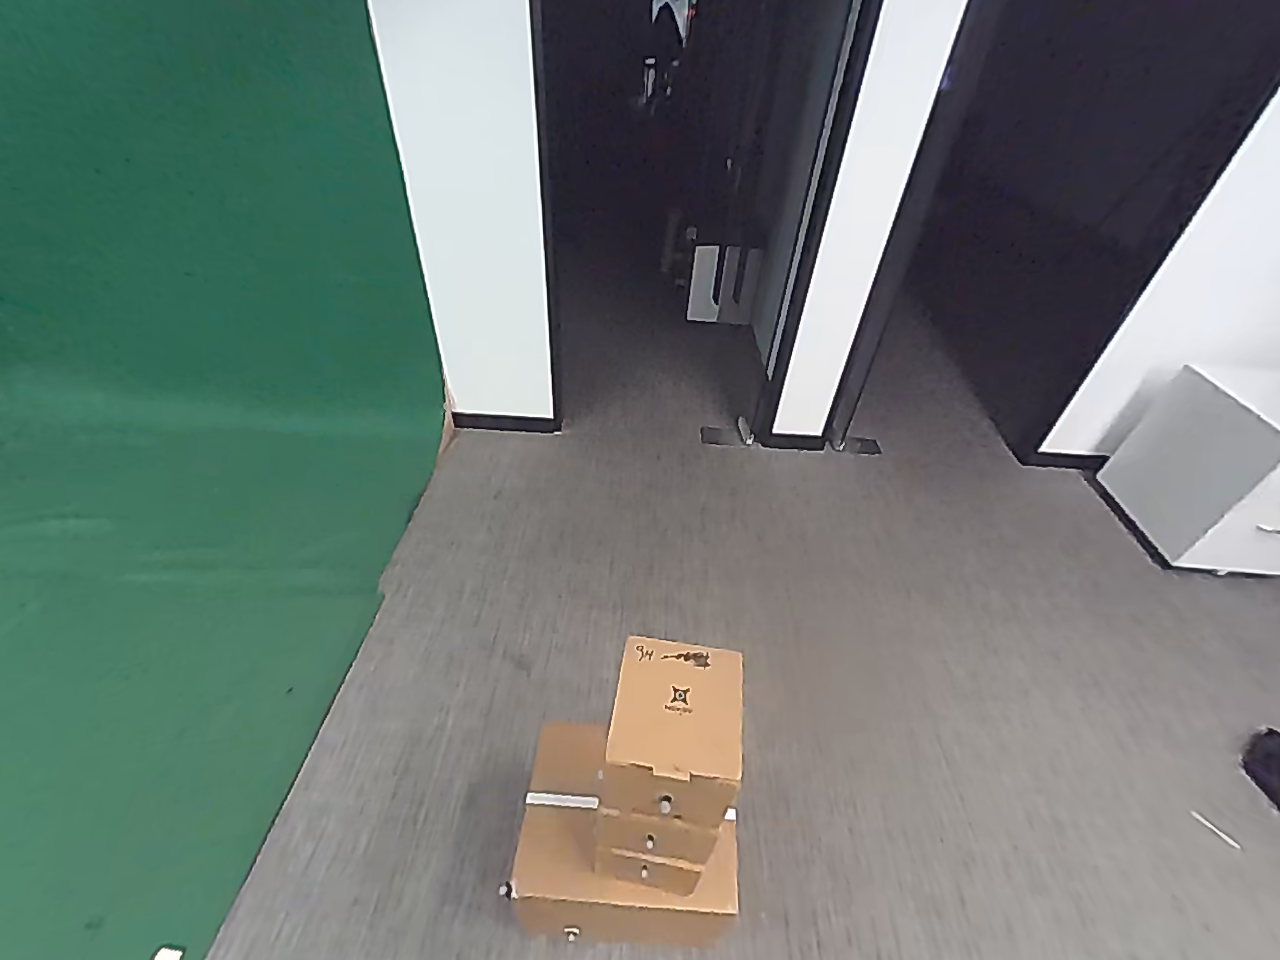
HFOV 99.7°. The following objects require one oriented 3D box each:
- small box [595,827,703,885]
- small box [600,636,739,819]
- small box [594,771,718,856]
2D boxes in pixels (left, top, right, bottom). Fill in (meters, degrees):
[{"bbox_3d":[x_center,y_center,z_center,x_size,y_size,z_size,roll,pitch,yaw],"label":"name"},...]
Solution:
[{"bbox_3d":[0.020,0.599,0.969,0.179,0.176,0.168,9,43,4],"label":"small box"},{"bbox_3d":[0.043,0.349,0.759,0.168,0.176,0.179,8,43,5],"label":"small box"},{"bbox_3d":[0.031,0.476,0.863,0.179,0.176,0.168,6,43,6],"label":"small box"}]
